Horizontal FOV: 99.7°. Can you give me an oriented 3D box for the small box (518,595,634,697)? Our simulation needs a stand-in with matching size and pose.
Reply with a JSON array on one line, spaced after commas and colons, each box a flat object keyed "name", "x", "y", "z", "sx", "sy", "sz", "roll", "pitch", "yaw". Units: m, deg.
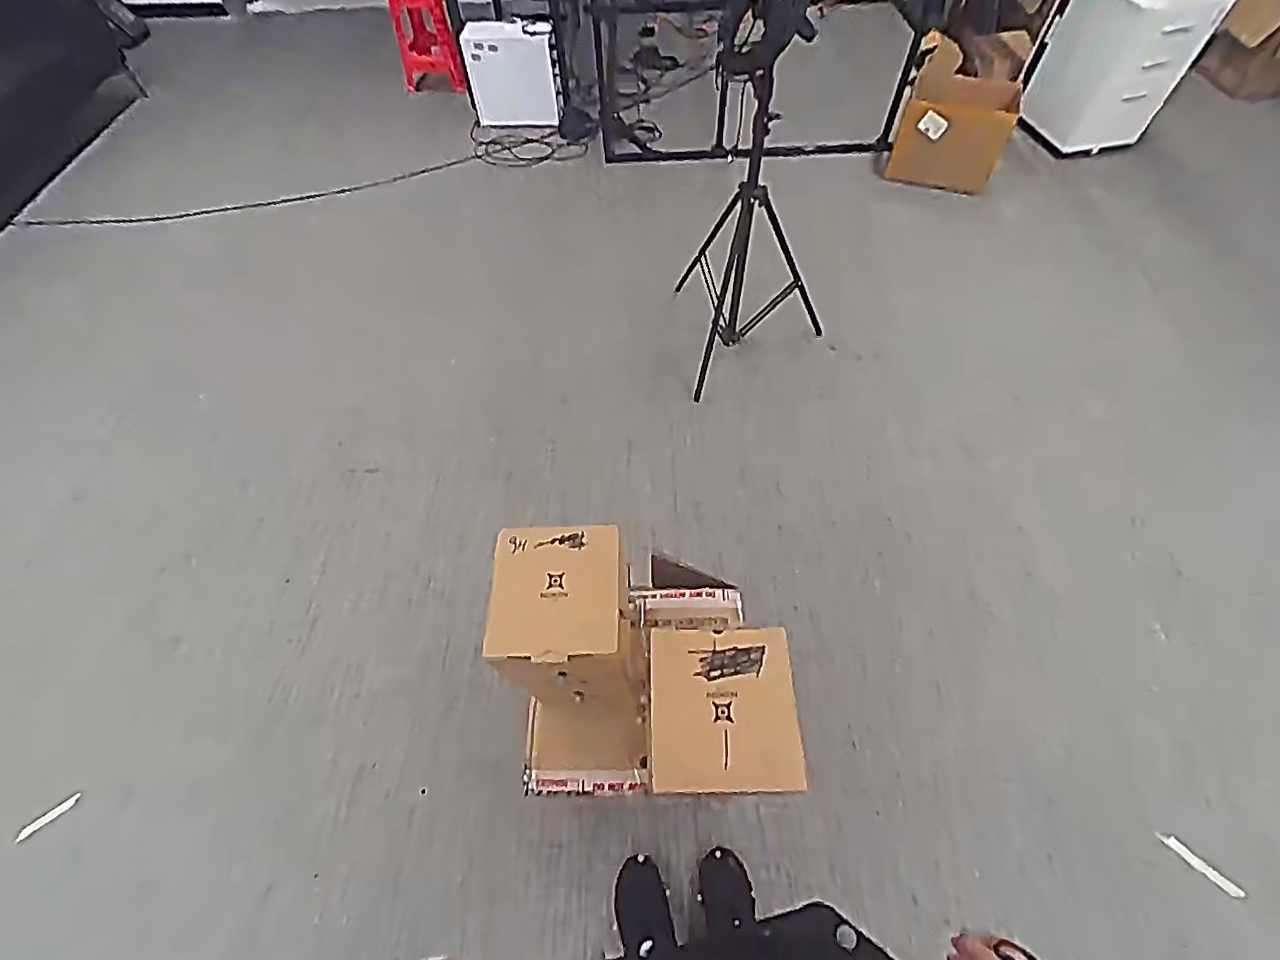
[{"name": "small box", "x": -0.099, "y": 0.255, "z": 0.907, "sx": 0.168, "sy": 0.176, "sz": 0.179, "roll": -4, "pitch": 60, "yaw": 2}]

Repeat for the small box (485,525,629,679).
[{"name": "small box", "x": -0.103, "y": 0.178, "z": 0.761, "sx": 0.168, "sy": 0.176, "sz": 0.179, "roll": -3, "pitch": 60, "yaw": 3}]

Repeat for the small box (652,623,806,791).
[{"name": "small box", "x": 0.099, "y": 0.292, "z": 0.685, "sx": 0.168, "sy": 0.176, "sz": 0.179, "roll": -2, "pitch": 60, "yaw": 2}]
